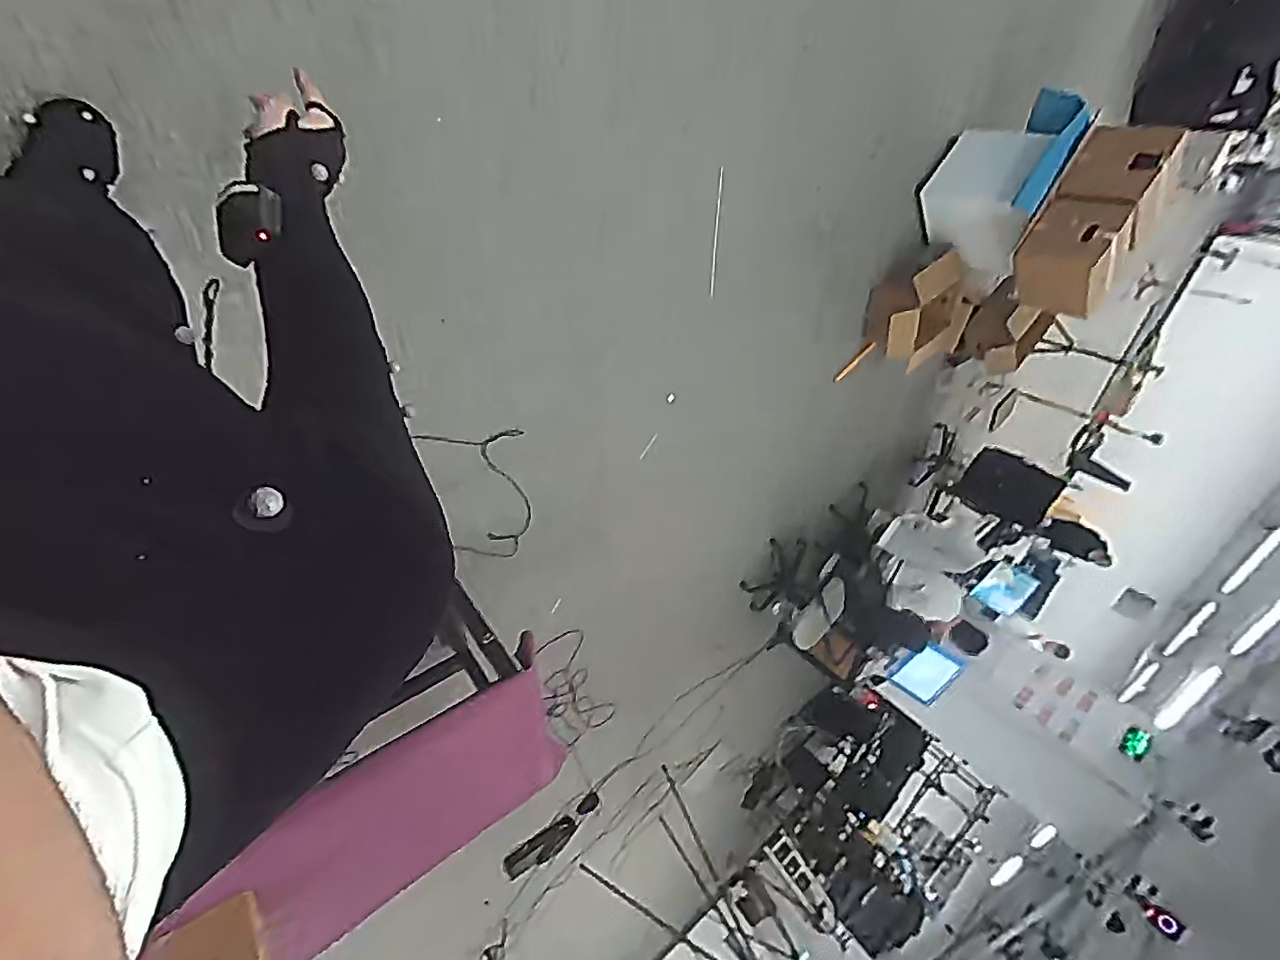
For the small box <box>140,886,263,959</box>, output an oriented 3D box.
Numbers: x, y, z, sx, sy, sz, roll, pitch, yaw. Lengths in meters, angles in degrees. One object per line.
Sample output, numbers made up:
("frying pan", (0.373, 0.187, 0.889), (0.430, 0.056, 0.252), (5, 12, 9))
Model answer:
("small box", (-0.919, 1.019, 1.143), (0.179, 0.176, 0.168), (-15, 129, -38))
